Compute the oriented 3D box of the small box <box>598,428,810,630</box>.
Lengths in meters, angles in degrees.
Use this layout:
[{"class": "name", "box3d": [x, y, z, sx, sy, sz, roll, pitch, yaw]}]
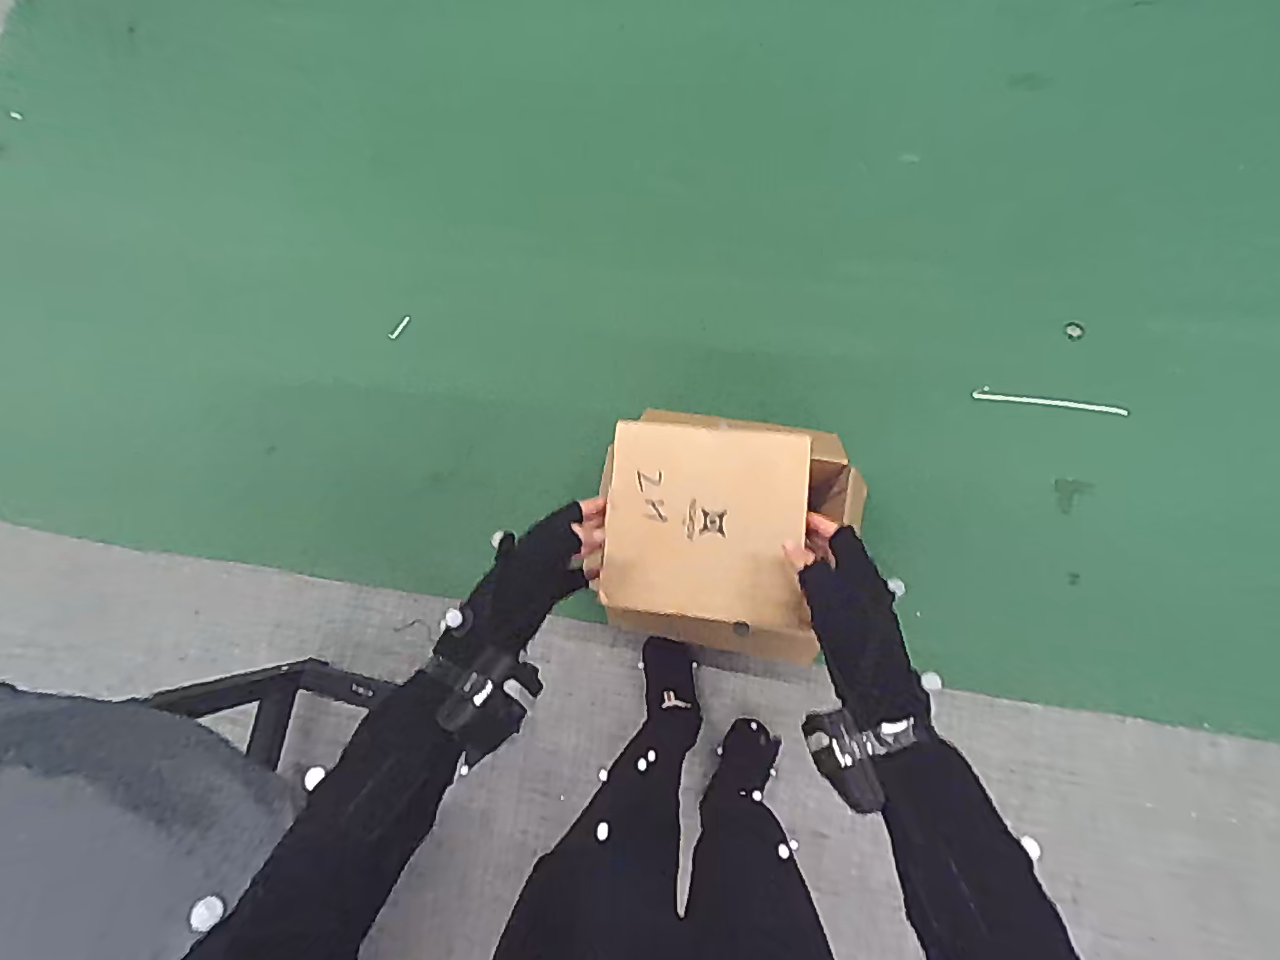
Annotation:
[{"class": "small box", "box3d": [0.065, 0.050, 0.557, 0.179, 0.176, 0.168, 5, 82, 8]}]
